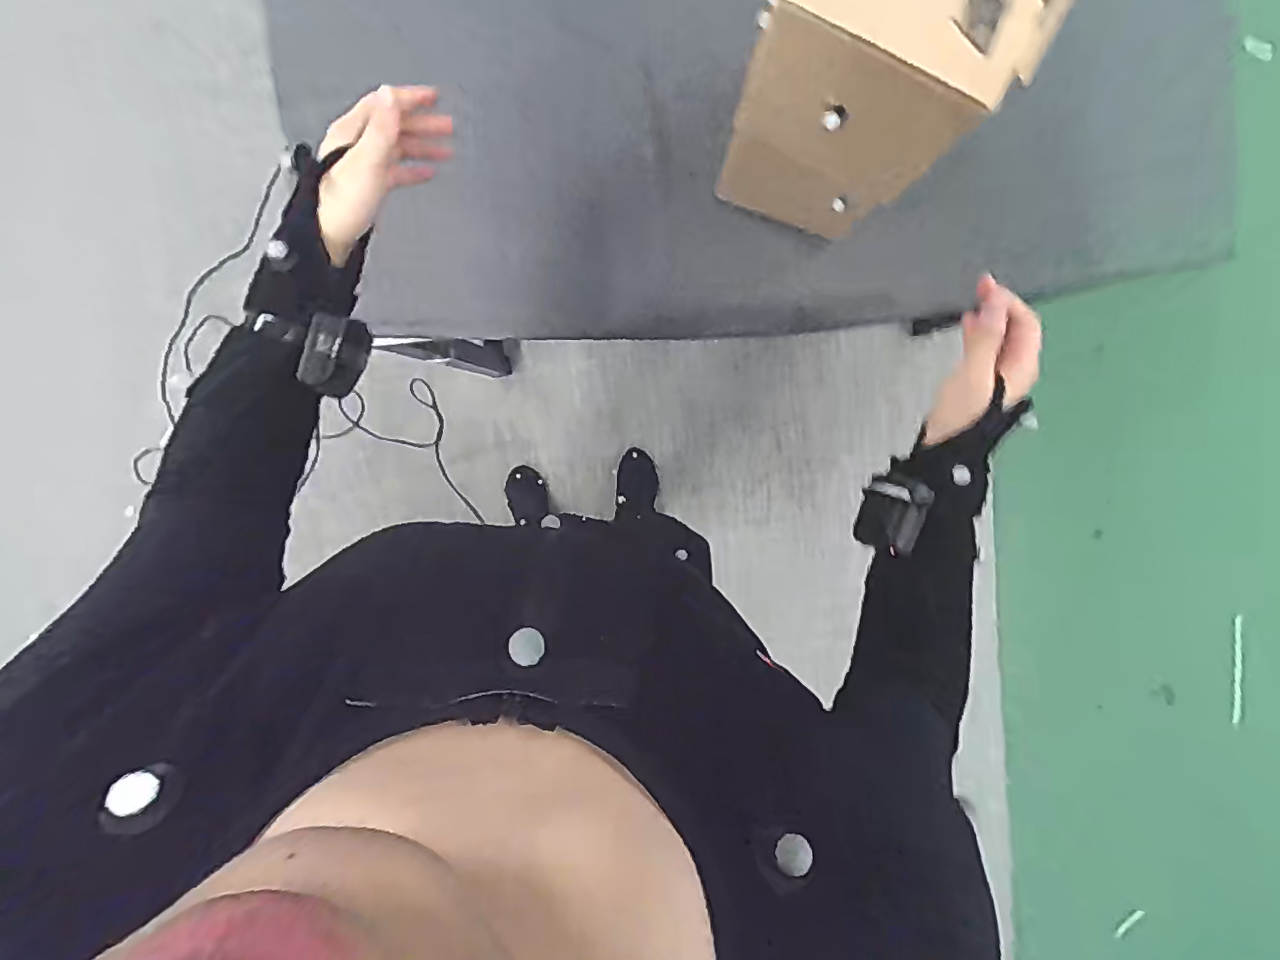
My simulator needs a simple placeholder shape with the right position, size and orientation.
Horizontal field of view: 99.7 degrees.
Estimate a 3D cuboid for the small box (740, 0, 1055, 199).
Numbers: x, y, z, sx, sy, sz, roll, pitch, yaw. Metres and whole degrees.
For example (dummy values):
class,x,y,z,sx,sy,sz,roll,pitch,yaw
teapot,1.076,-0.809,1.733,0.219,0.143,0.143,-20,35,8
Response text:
class,x,y,z,sx,sy,sz,roll,pitch,yaw
small box,0.207,-0.370,0.453,0.179,0.176,0.168,27,95,-2
